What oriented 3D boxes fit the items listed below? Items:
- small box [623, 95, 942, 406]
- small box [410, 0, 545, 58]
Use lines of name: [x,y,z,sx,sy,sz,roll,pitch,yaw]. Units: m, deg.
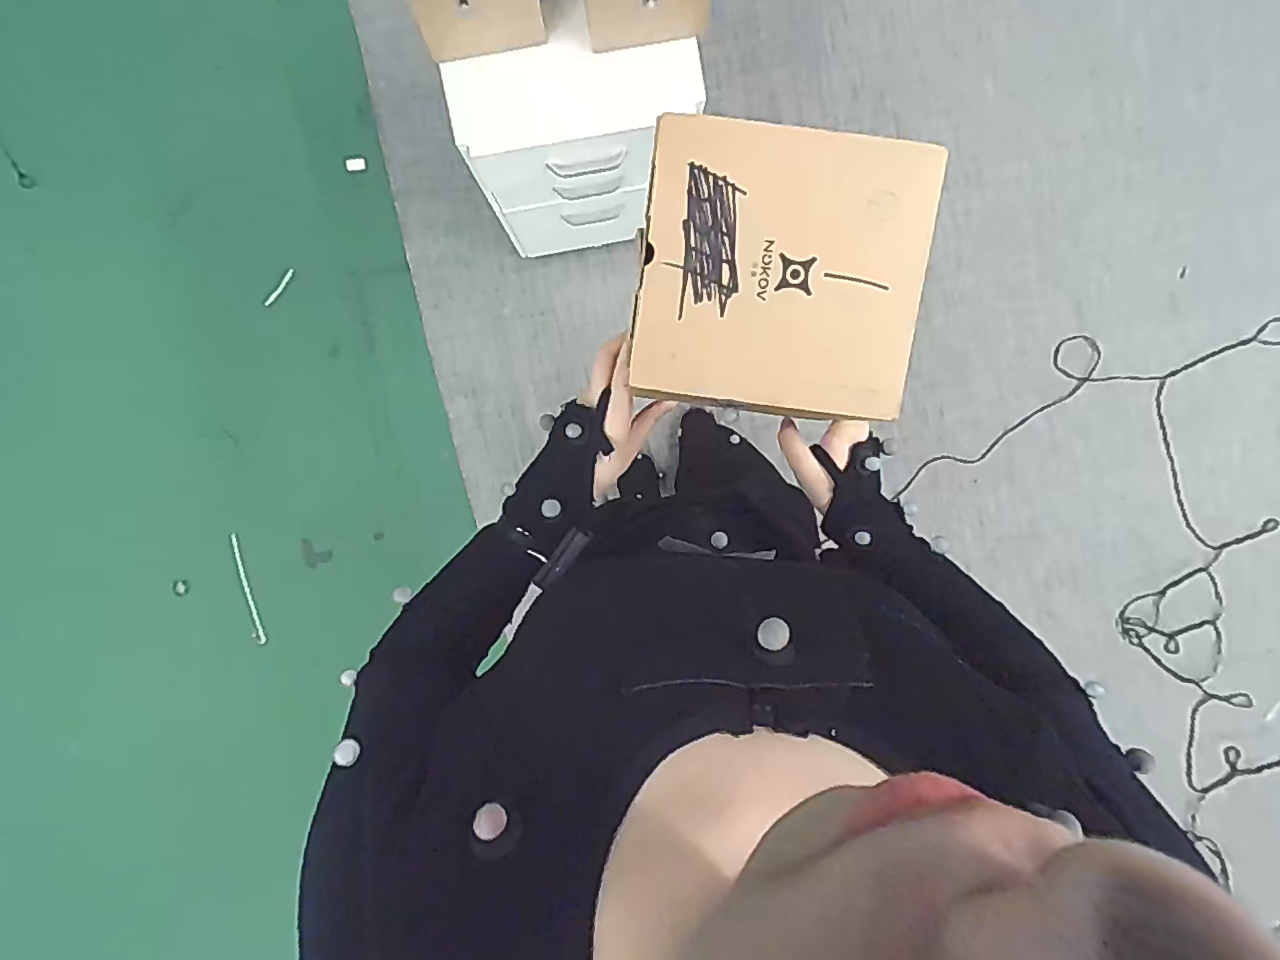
small box: [0.087,-0.149,0.413,0.179,0.176,0.168,8,97,-1]
small box: [-0.239,-0.721,0.736,0.179,0.176,0.168,-12,95,-2]
